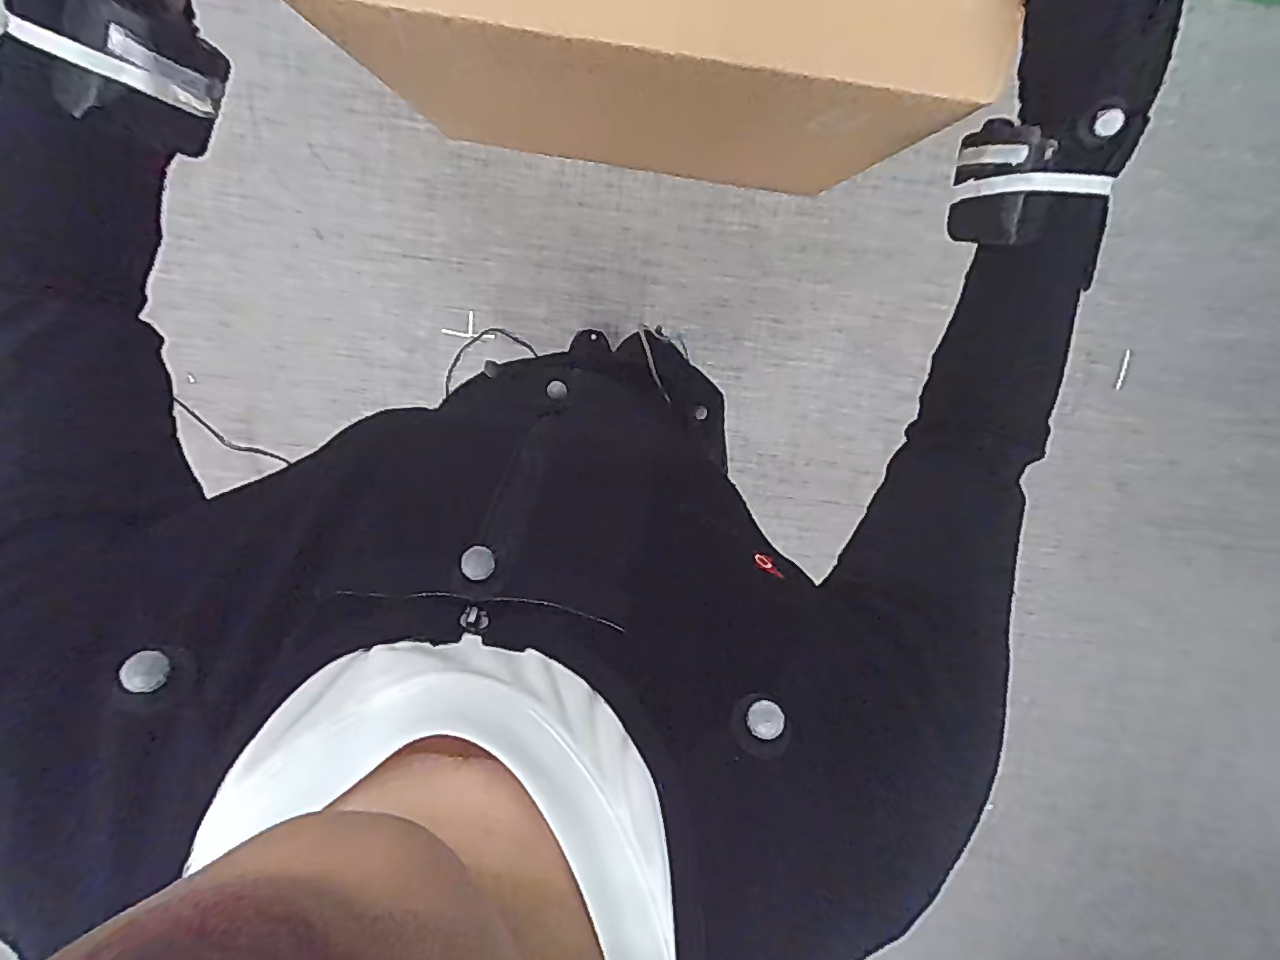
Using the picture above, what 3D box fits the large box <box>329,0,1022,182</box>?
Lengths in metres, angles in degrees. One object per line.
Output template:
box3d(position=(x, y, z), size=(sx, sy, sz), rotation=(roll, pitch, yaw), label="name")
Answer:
box3d(position=(0.024, -0.439, 0.395), size=(0.408, 0.320, 0.320), rotation=(6, 110, -4), label="large box")
